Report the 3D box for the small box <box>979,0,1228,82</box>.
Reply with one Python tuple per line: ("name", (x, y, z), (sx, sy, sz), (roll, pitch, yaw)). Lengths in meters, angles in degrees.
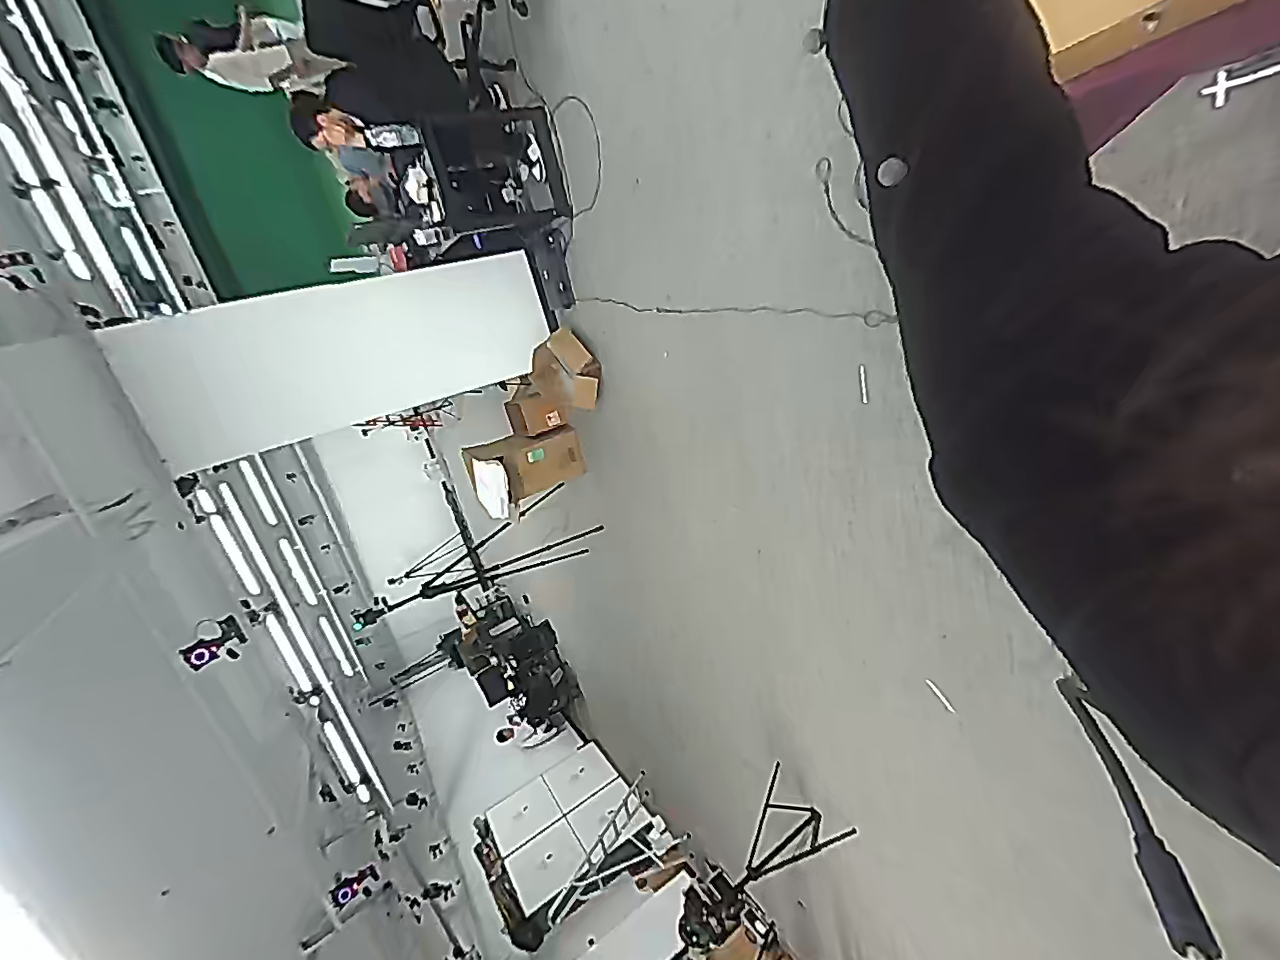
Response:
("small box", (0.480, -0.540, 0.552), (0.179, 0.176, 0.168), (10, 120, 59))
